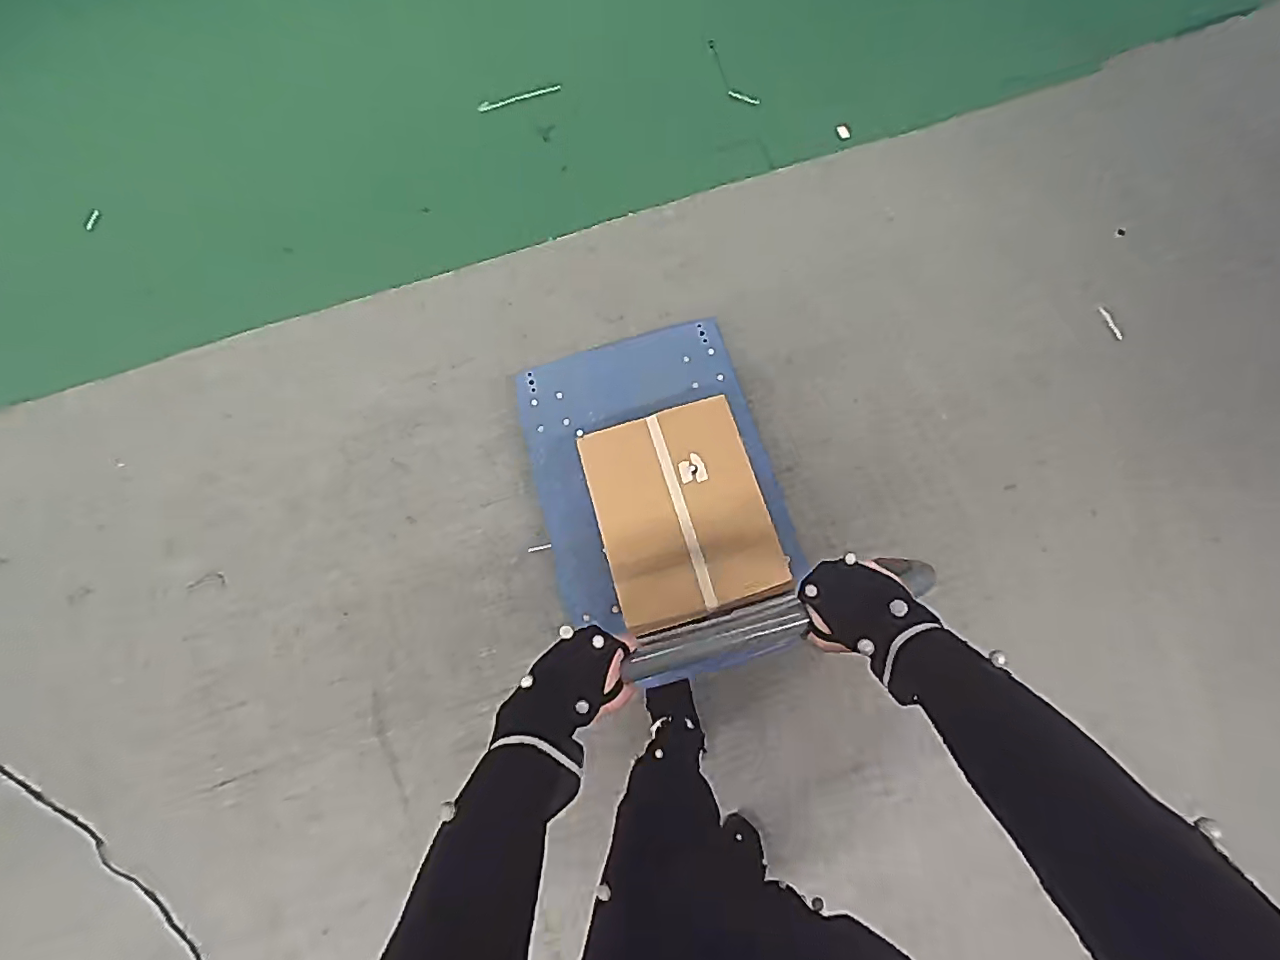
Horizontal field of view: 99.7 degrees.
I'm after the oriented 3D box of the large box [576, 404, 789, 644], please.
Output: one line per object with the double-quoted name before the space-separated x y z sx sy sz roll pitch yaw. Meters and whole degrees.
"large box" 0.085 0.113 1.179 0.320 0.320 0.408 -17 71 -1
